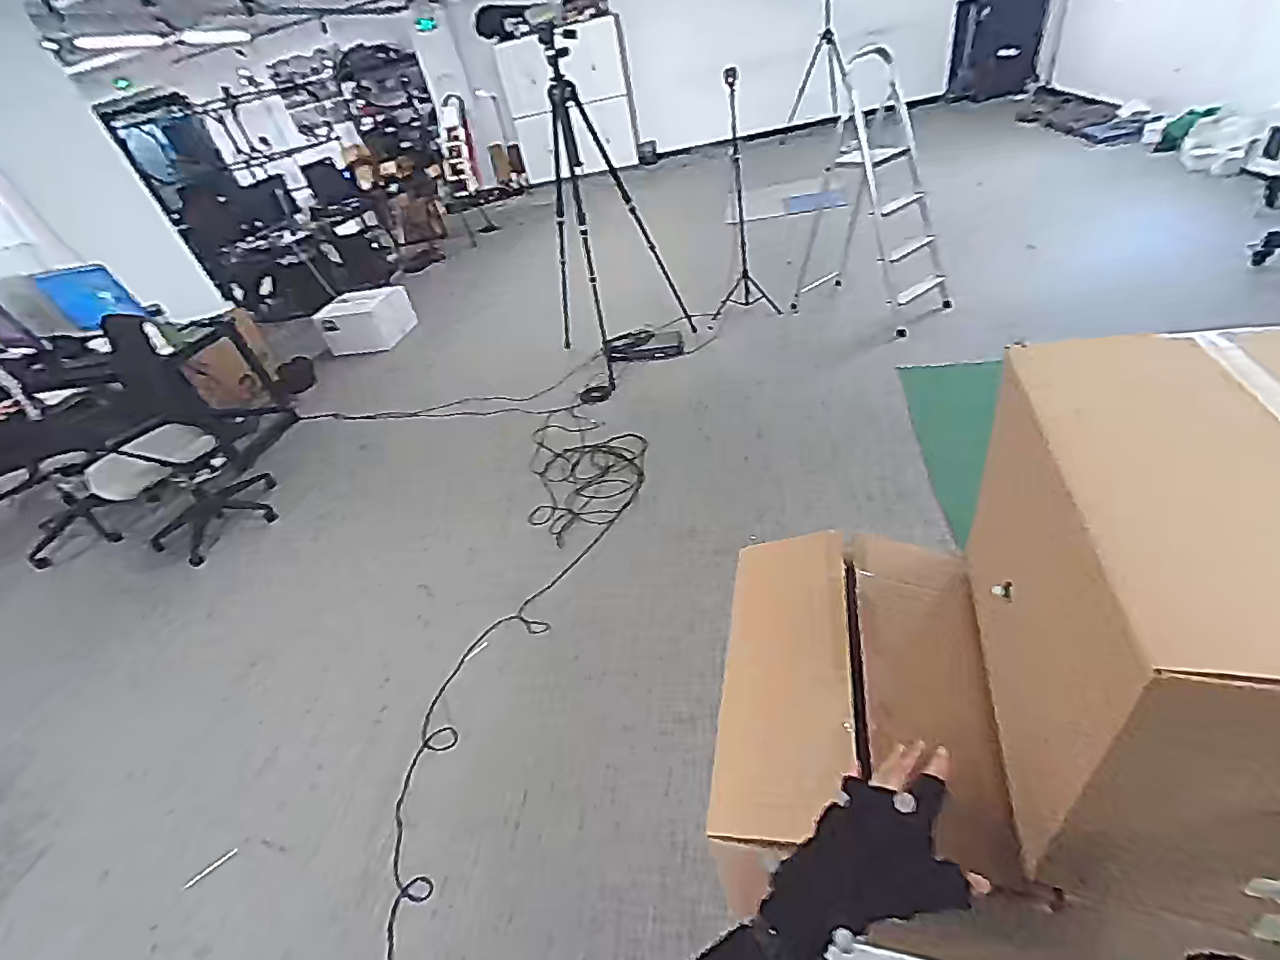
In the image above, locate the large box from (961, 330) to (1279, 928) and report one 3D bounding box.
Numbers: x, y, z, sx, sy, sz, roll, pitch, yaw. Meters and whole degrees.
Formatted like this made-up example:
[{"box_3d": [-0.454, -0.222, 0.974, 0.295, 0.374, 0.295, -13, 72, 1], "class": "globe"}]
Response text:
[{"box_3d": [0.493, 0.103, 0.469, 0.320, 0.320, 0.408, 2, 38, 22], "class": "large box"}]
